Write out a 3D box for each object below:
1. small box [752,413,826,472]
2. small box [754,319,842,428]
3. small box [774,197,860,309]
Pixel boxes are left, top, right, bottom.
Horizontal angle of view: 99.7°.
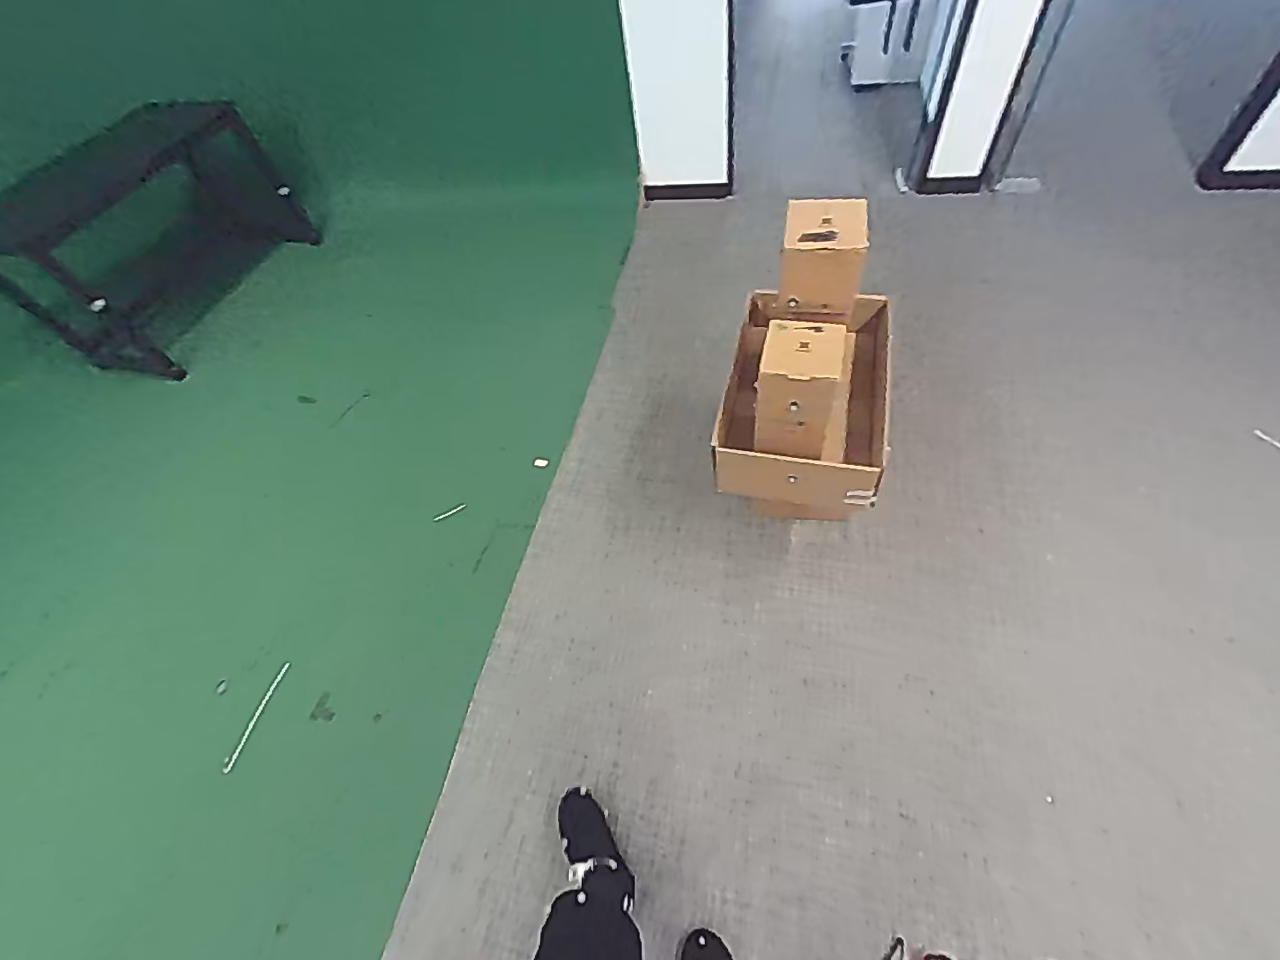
[{"bbox_3d":[0.378,-0.146,1.360,0.168,0.176,0.179,8,56,16],"label":"small box"},{"bbox_3d":[0.354,-0.240,1.229,0.168,0.176,0.179,9,57,15],"label":"small box"},{"bbox_3d":[0.393,-0.502,1.211,0.168,0.176,0.179,5,59,13],"label":"small box"}]
